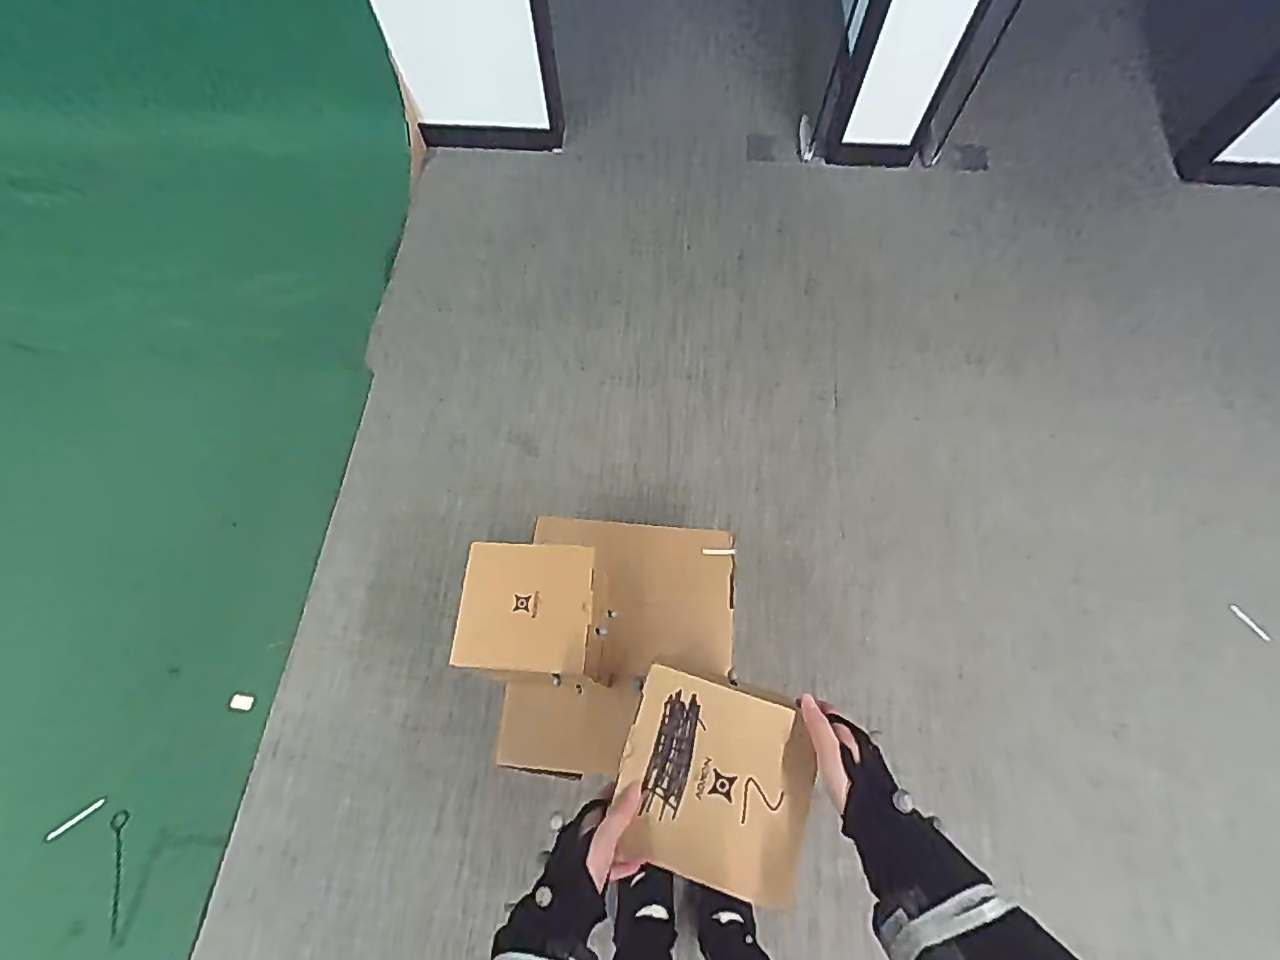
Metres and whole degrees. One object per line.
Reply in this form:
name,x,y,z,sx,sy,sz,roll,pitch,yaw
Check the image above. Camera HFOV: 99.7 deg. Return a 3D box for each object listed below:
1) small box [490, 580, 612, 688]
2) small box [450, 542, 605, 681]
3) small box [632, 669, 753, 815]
small box,-0.142,0.266,0.936,0.179,0.176,0.168,2,66,2
small box,-0.150,0.197,0.788,0.179,0.176,0.168,3,66,1
small box,0.079,0.413,0.869,0.168,0.176,0.179,8,67,3
